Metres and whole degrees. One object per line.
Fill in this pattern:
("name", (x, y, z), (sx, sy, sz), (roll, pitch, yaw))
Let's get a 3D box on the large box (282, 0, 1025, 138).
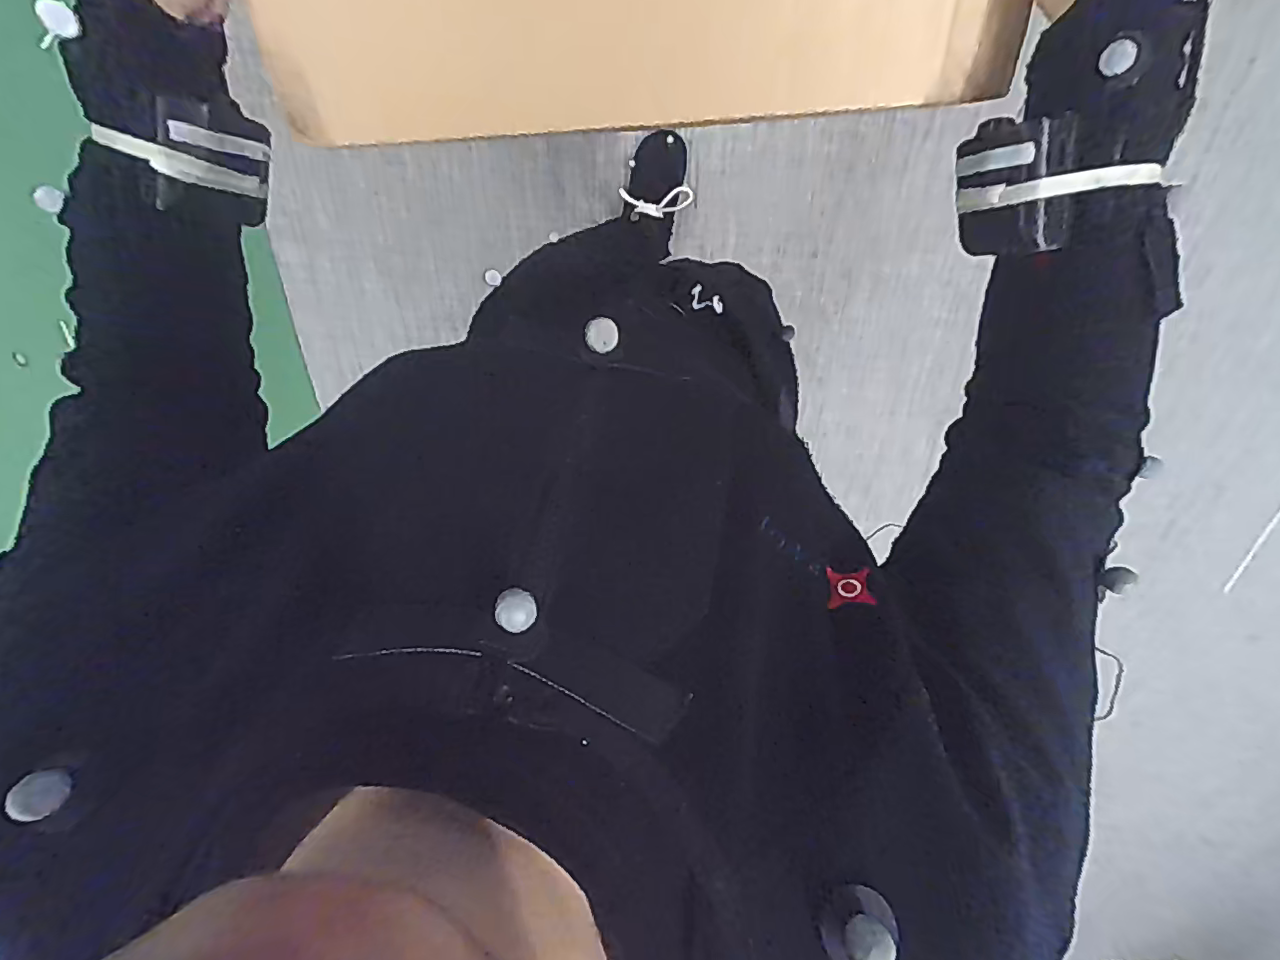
("large box", (0.000, -0.427, 0.355), (0.408, 0.320, 0.320), (-1, 124, 5))
